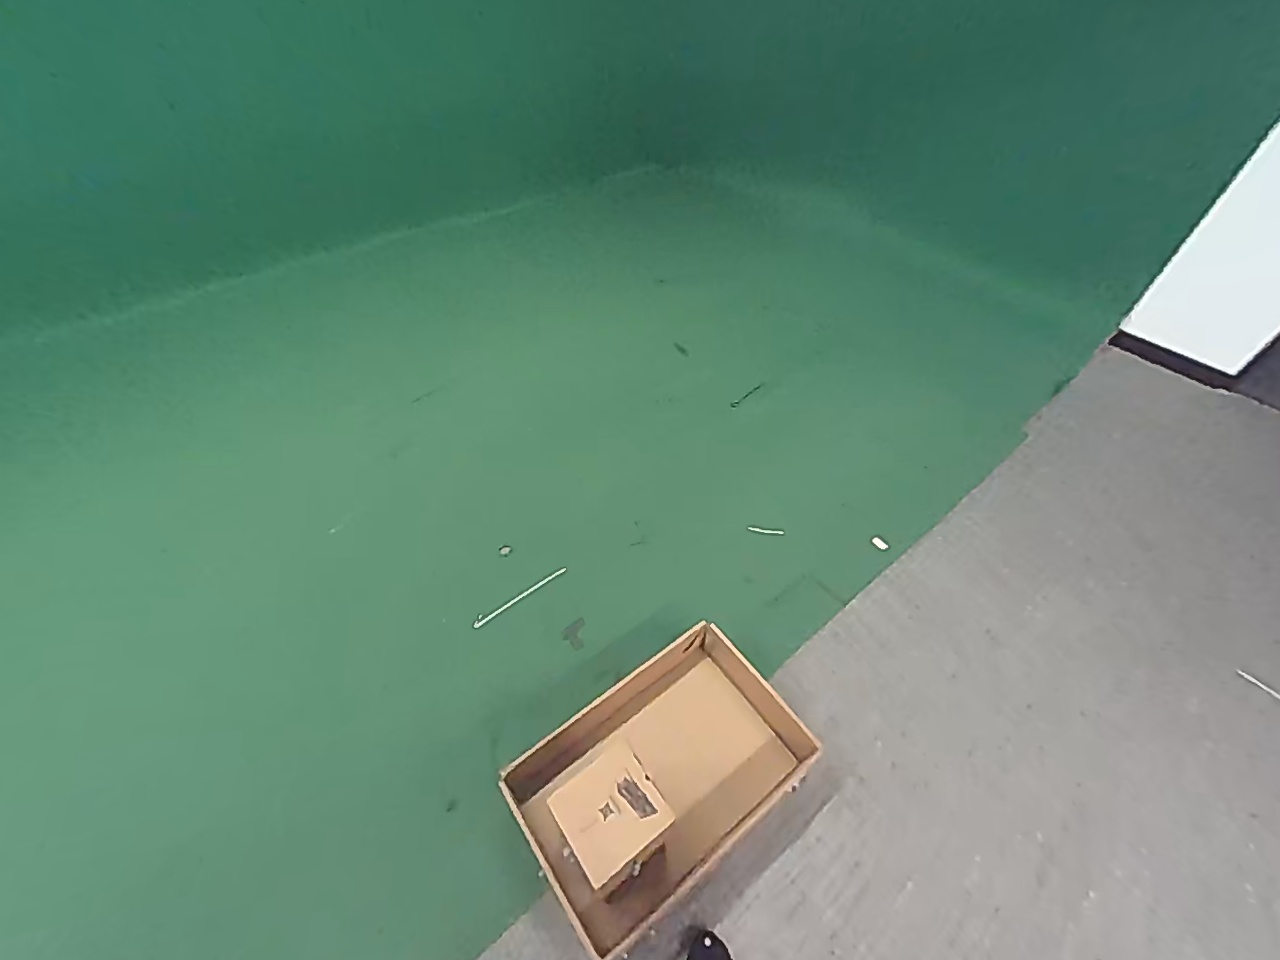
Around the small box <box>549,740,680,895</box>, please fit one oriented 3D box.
[{"bbox_3d":[-0.049,0.627,1.006,0.179,0.176,0.168,-29,56,-24],"label":"small box"}]
